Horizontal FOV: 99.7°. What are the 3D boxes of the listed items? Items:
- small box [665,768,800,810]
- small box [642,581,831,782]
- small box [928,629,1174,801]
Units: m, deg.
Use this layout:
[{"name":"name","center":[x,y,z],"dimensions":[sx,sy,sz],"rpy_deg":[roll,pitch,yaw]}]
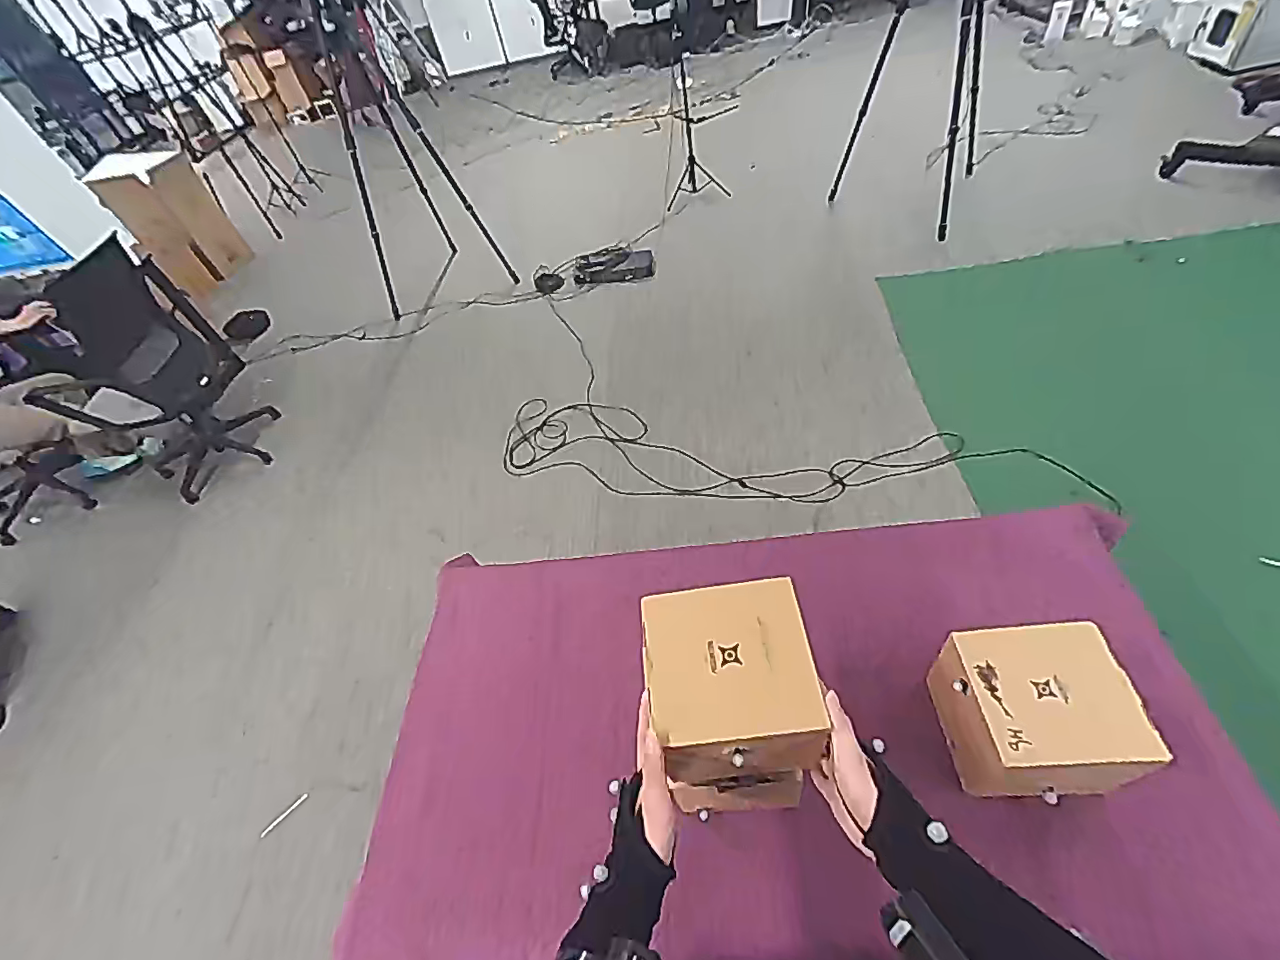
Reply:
[{"name":"small box","center":[0.125,0.353,0.762],"dimensions":[0.168,0.176,0.179],"rpy_deg":[-7,48,7]},{"name":"small box","center":[0.103,0.236,0.621],"dimensions":[0.179,0.176,0.168],"rpy_deg":[-7,50,4]},{"name":"small box","center":[0.512,0.311,0.710],"dimensions":[0.179,0.176,0.168],"rpy_deg":[-6,49,7]}]
